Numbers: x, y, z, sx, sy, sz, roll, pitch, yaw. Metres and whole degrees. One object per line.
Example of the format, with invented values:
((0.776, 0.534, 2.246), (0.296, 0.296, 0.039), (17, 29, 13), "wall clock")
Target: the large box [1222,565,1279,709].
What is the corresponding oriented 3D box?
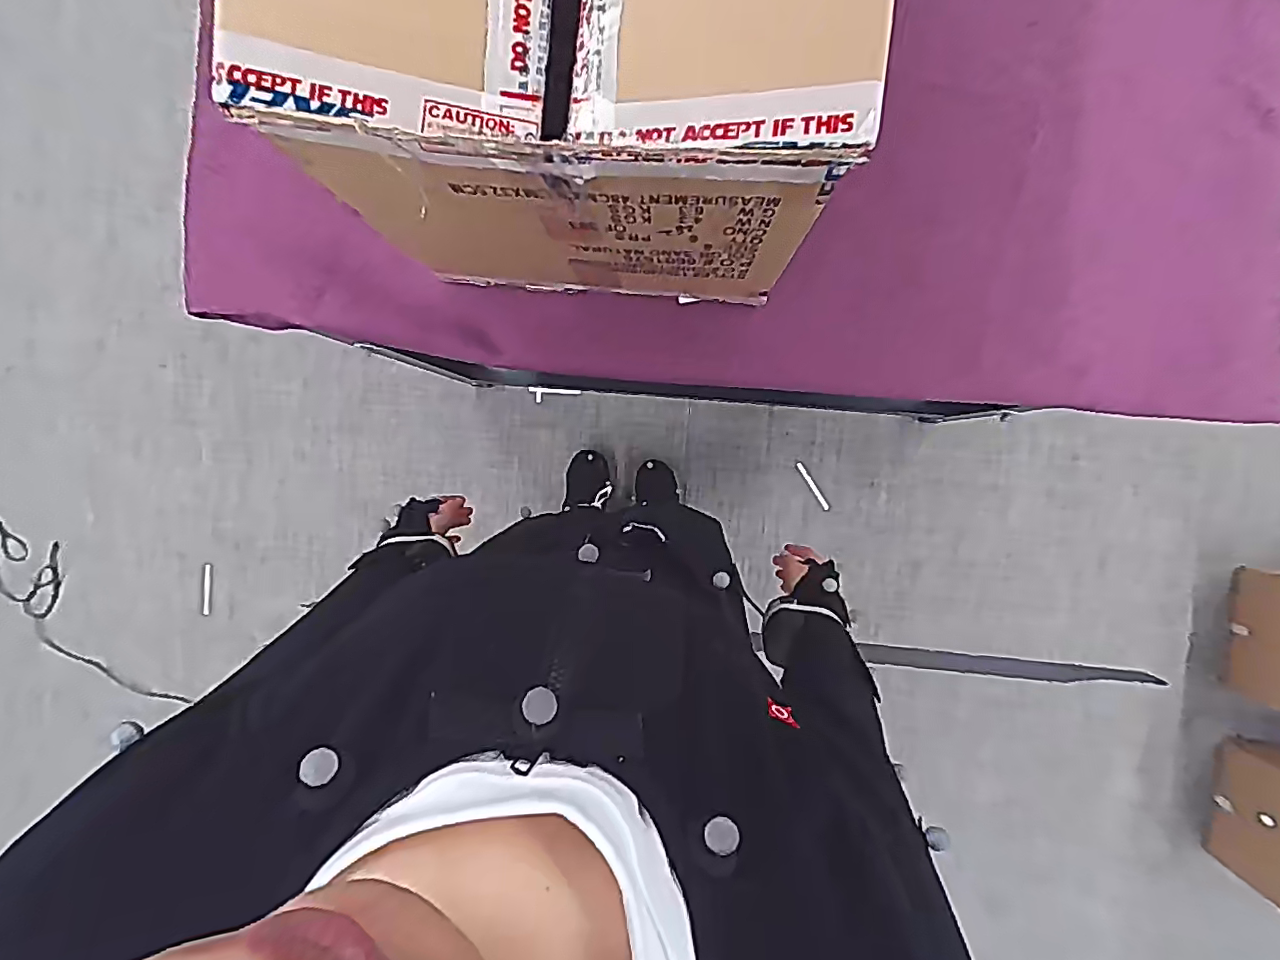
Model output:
((1.637, 0.375, 1.170), (0.408, 0.320, 0.320), (3, 93, 4), "large box")
